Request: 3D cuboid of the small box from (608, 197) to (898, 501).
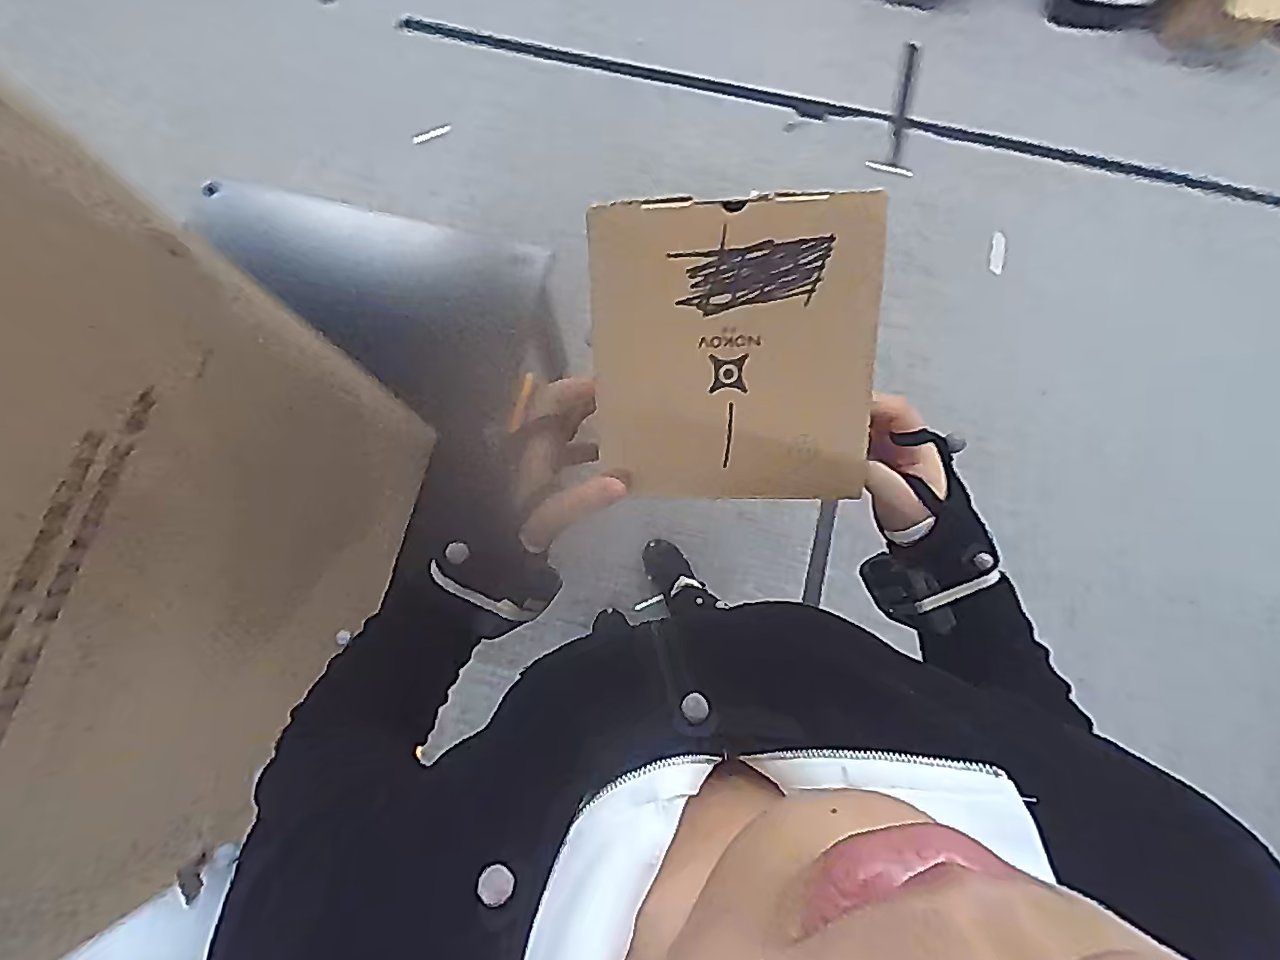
[{"bbox_3d":[0.070,-0.092,0.400,0.168,0.176,0.179,1,105,7],"label":"small box"}]
